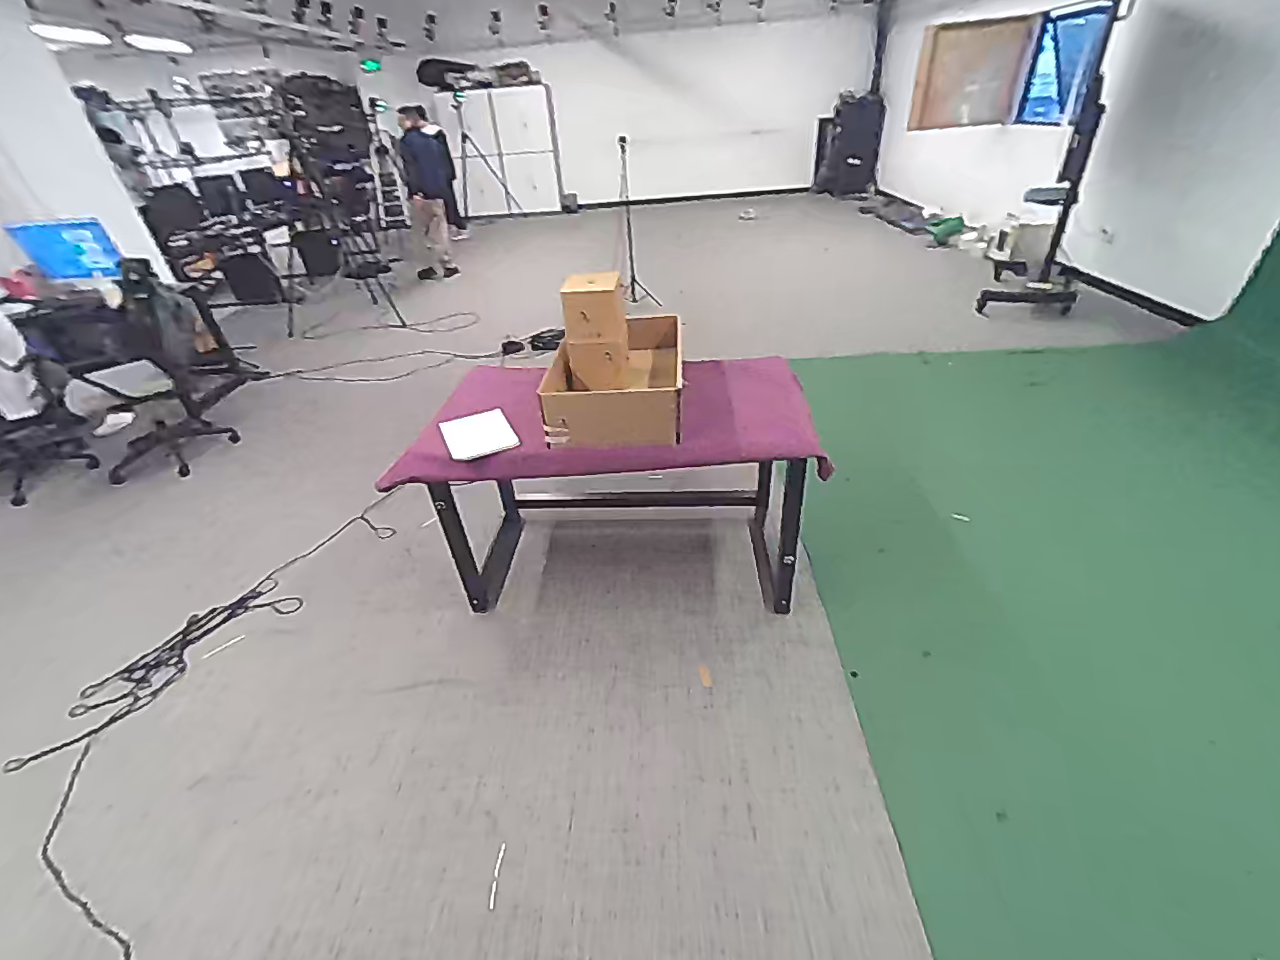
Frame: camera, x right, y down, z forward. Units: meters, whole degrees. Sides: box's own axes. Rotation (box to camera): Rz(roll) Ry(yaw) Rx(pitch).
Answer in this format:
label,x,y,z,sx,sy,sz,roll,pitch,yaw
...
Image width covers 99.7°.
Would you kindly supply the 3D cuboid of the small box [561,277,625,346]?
label,x,y,z,sx,sy,sz,roll,pitch,yaw
small box,-0.143,-0.532,1.718,0.168,0.176,0.179,0,36,7
